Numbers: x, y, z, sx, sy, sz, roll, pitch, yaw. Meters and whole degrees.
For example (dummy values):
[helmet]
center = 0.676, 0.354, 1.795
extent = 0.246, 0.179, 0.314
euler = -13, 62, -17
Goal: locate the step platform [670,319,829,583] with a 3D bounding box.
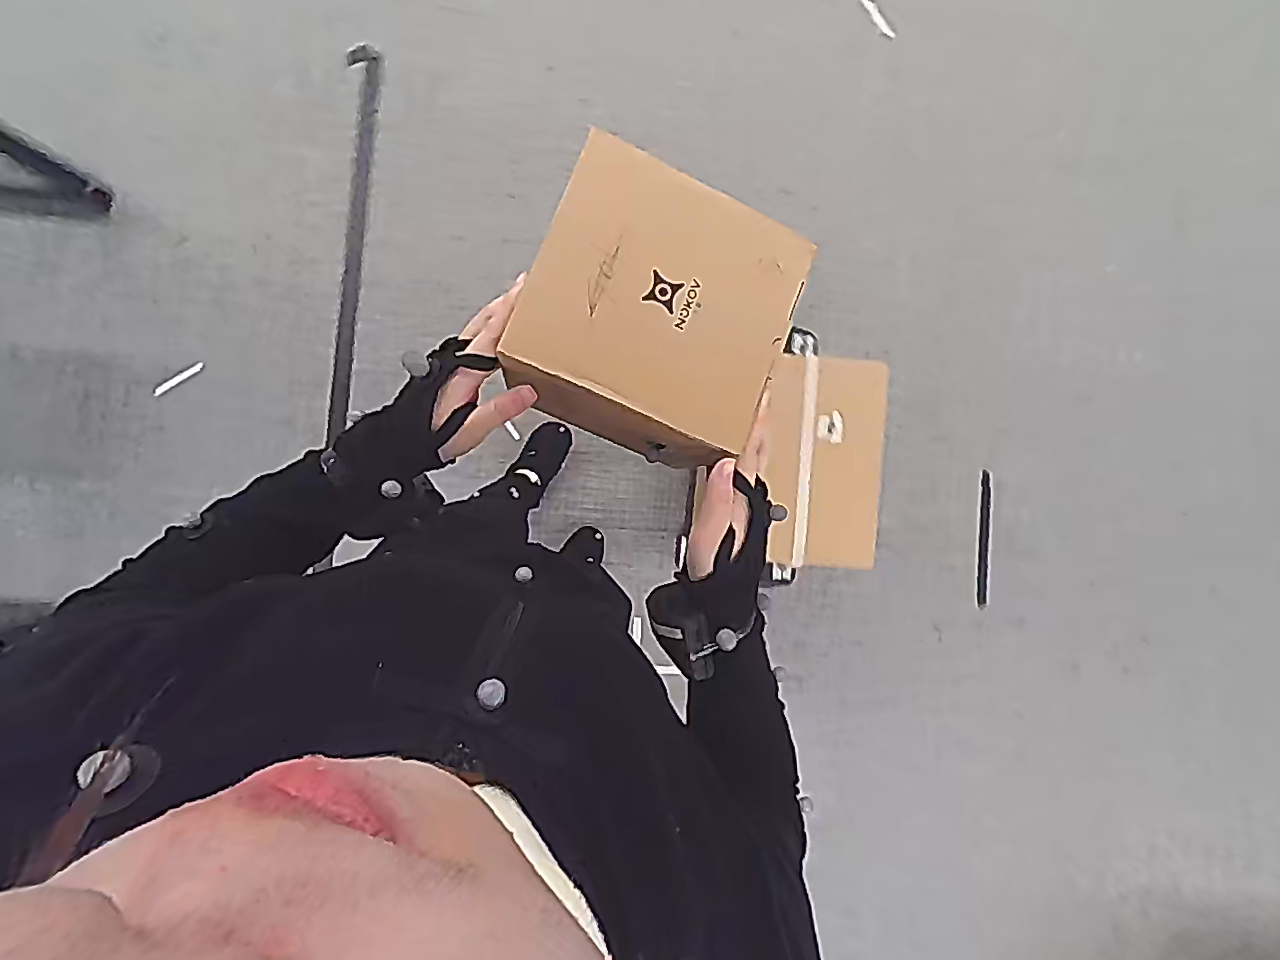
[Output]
[step platform]
center = 0.282, -0.079, 1.417
extent = 0.286, 0.204, 0.684
euler = 11, 87, -3

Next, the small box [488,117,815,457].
[small box]
center = -0.001, -0.124, 0.428
extent = 0.179, 0.176, 0.168
euler = 22, 83, -9

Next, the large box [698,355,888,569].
[large box]
center = 0.309, -0.029, 1.178
extent = 0.320, 0.320, 0.408
euler = 5, 87, -4
